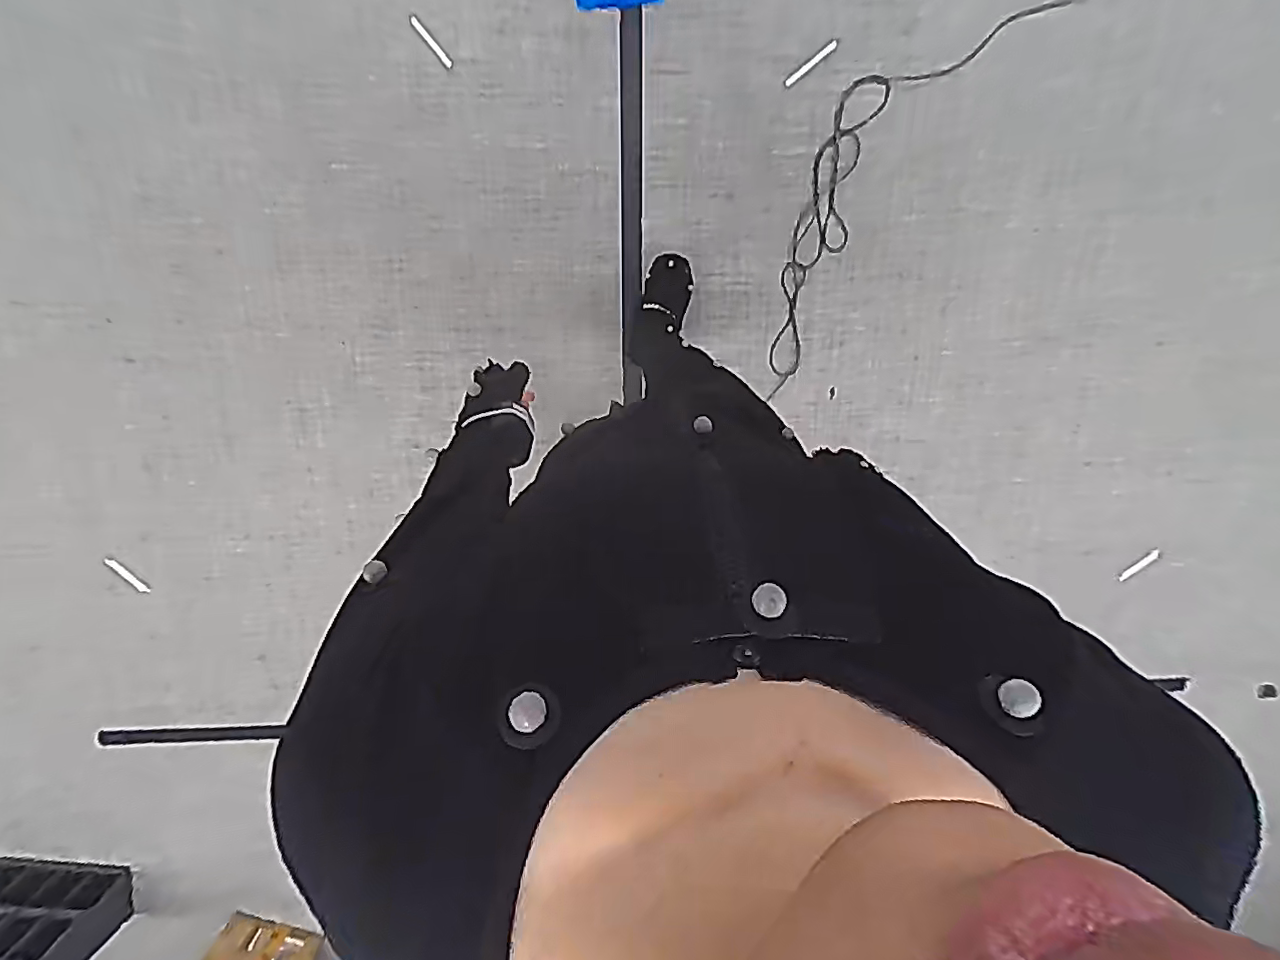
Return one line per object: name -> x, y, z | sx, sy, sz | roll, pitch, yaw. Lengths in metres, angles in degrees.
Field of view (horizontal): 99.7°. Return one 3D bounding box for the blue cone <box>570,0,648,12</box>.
blue cone -> -0.066, -1.099, 1.018 | 0.192, 0.380, 0.193 | -4, 104, -1
